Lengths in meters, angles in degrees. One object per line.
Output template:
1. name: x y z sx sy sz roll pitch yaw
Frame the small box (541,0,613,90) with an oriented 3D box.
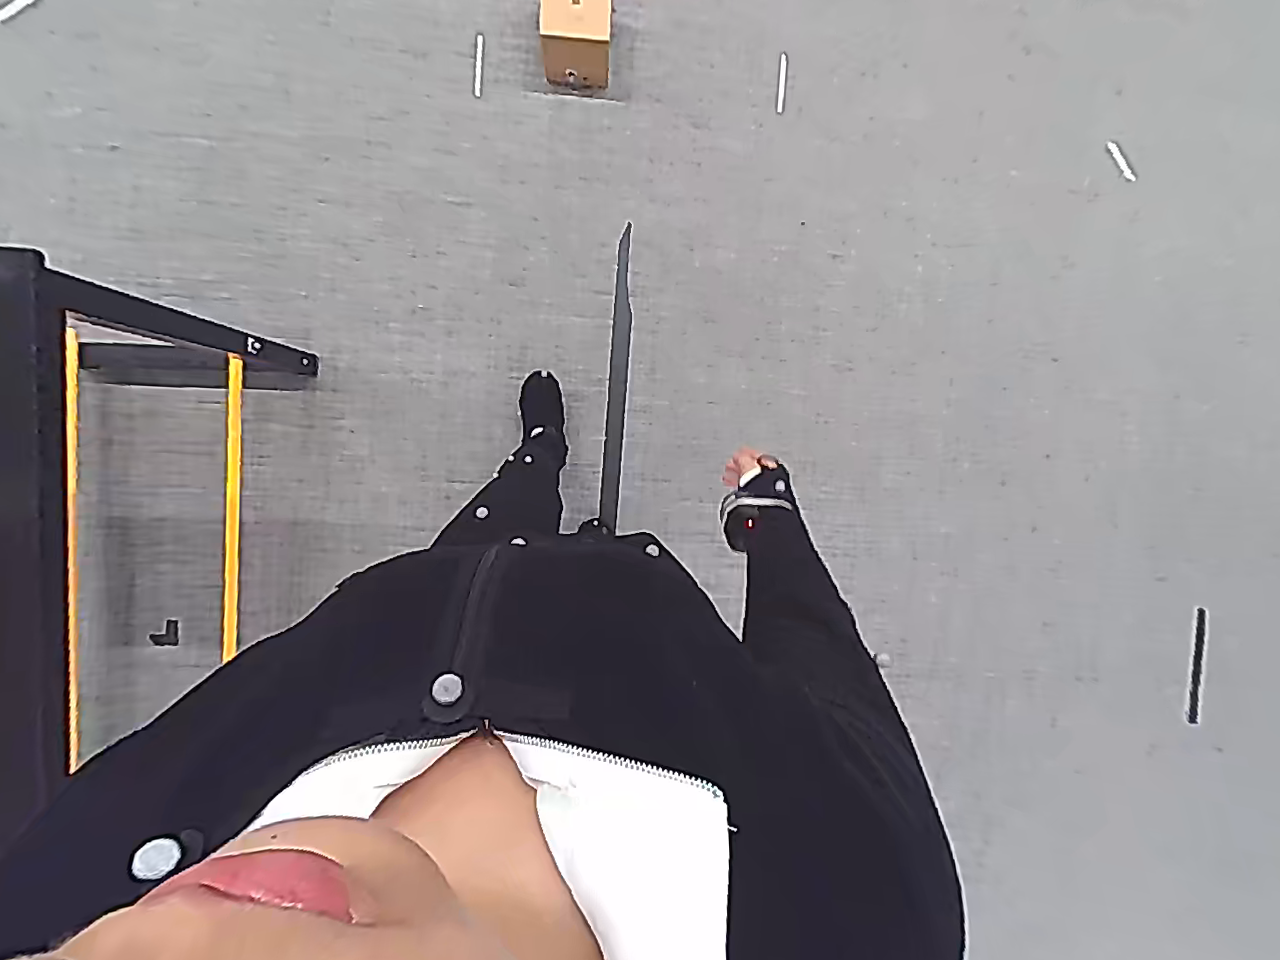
1. small box: -0.151 -1.109 1.329 0.168 0.176 0.179 2 94 -4
